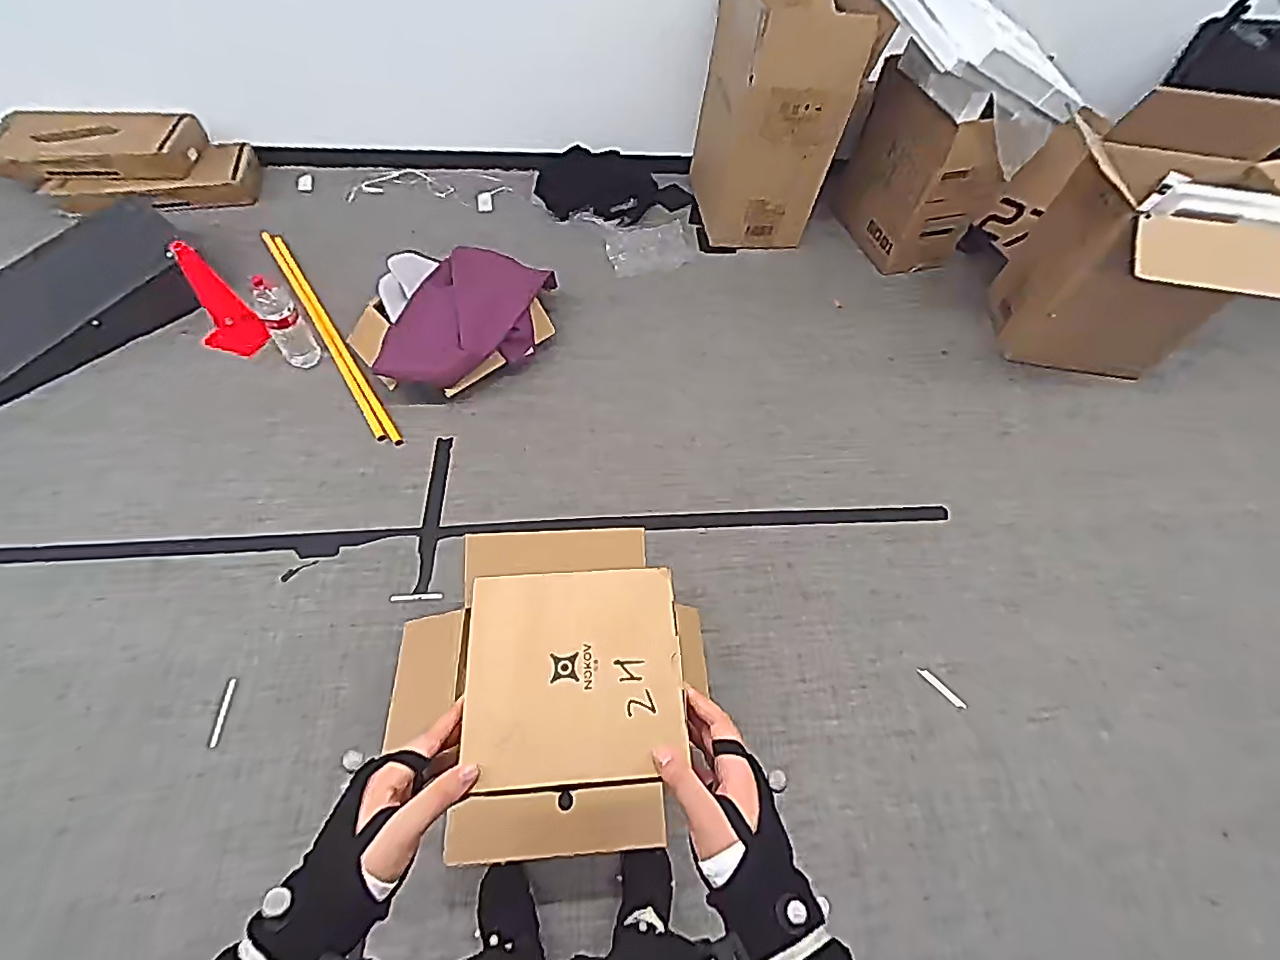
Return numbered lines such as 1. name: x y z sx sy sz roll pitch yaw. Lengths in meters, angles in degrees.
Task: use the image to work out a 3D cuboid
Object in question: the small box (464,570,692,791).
1. small box: -0.055 0.195 0.515 0.179 0.176 0.168 -2 60 -6
